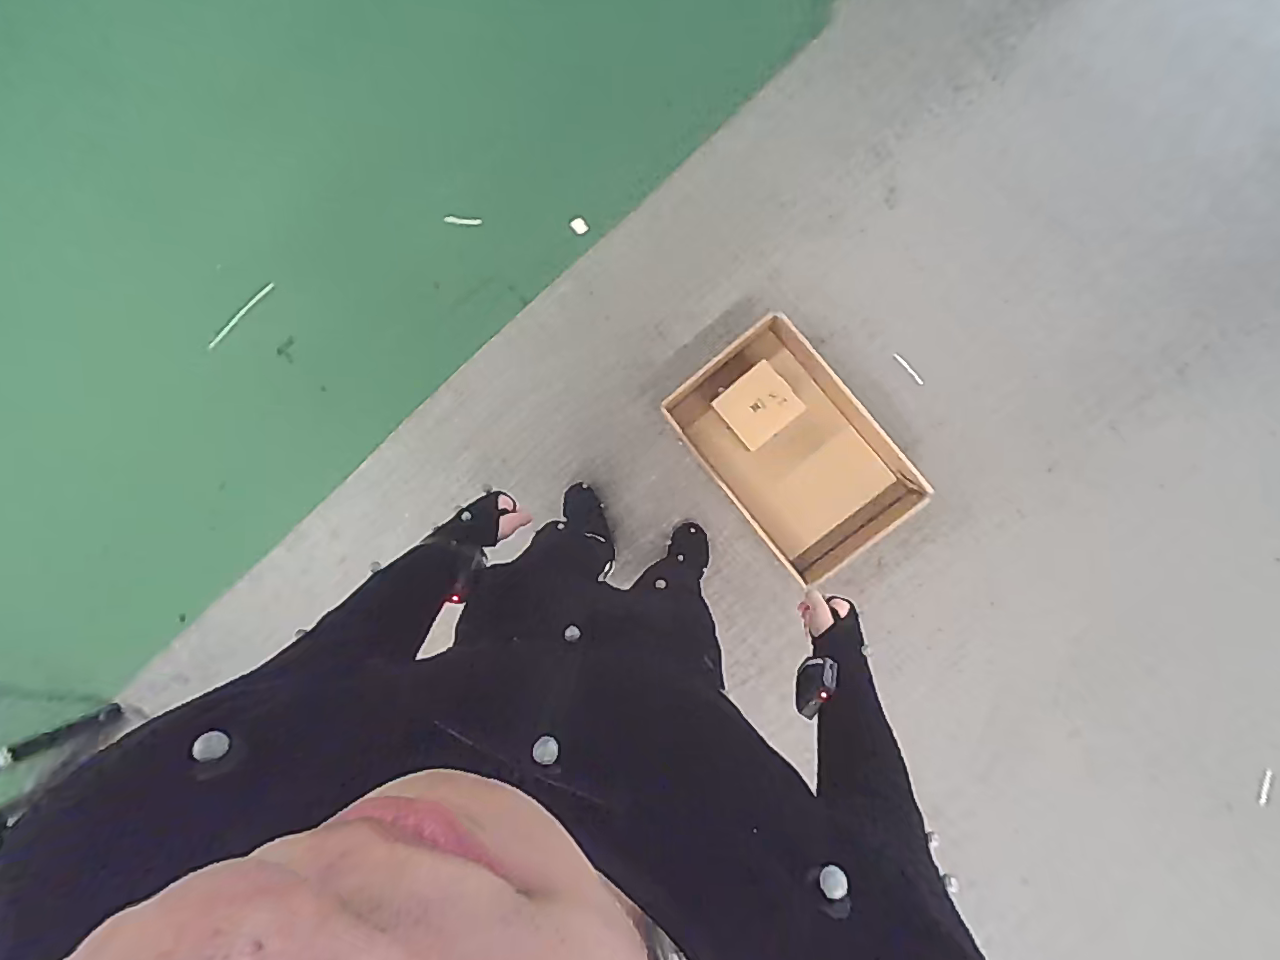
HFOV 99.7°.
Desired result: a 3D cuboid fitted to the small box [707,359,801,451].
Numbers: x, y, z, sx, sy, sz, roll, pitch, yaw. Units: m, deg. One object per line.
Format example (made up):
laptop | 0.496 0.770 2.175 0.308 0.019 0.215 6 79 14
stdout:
small box | 0.295 -0.188 1.425 0.179 0.176 0.168 -39 87 6
